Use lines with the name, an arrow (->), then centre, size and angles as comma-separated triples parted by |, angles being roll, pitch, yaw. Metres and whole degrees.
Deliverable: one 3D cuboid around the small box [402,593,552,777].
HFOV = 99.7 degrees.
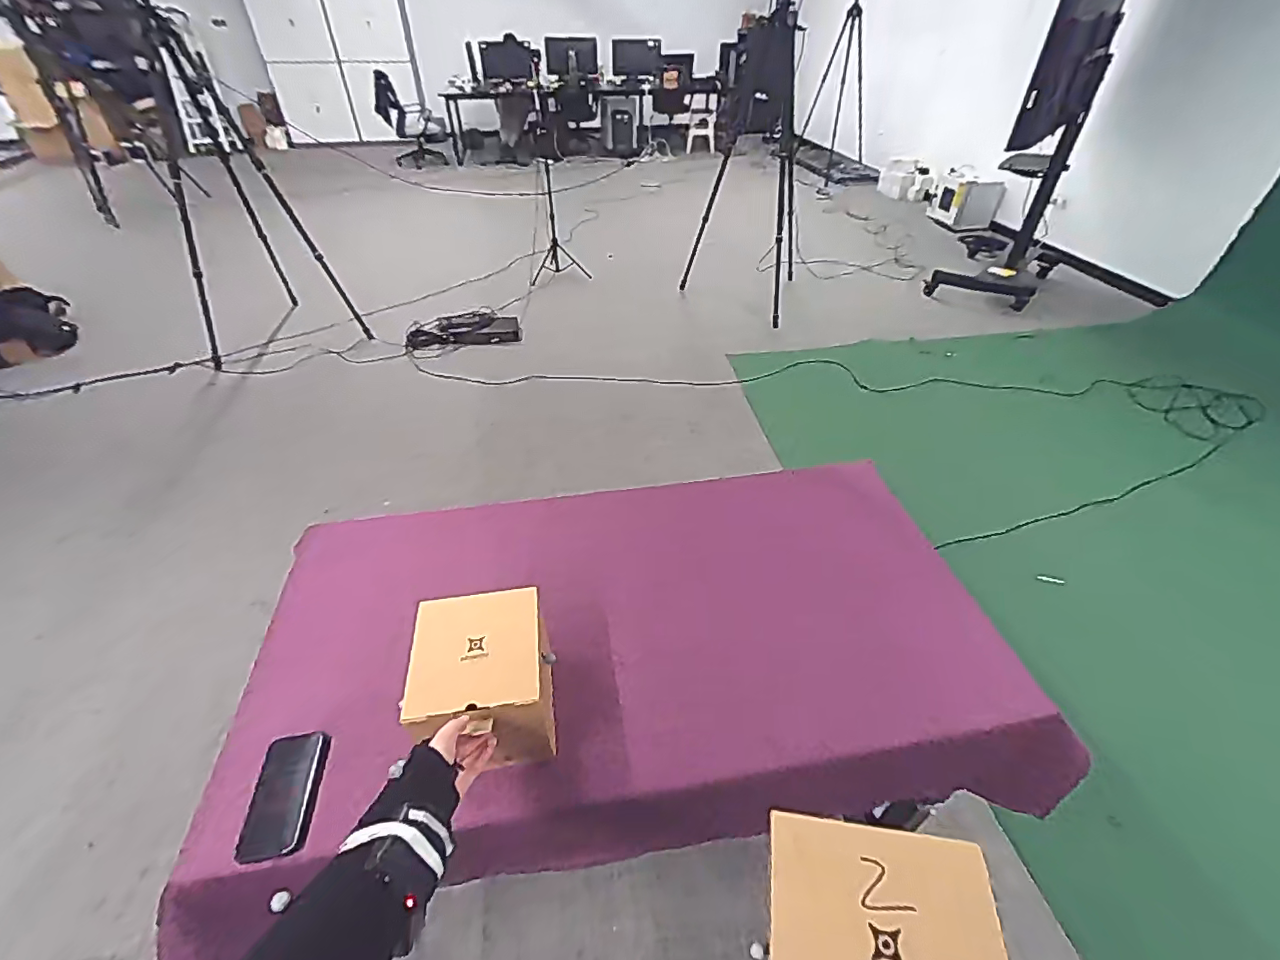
small box -> -0.217, 0.287, 0.764 | 0.168, 0.176, 0.179 | -6, 42, -7
